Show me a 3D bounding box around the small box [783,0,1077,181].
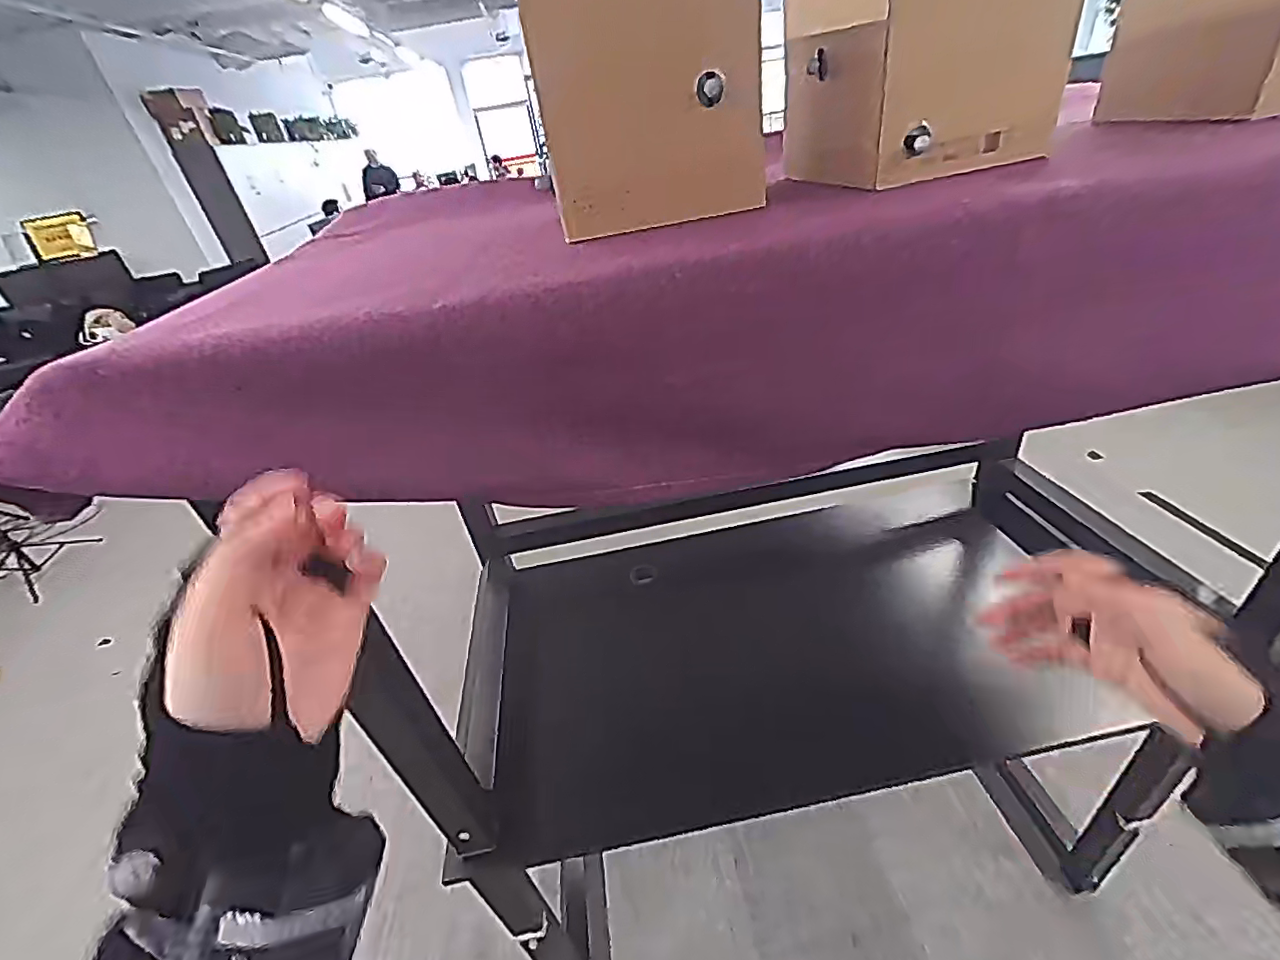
[{"bbox_3d":[0.238,-0.367,0.467,0.168,0.176,0.179,-14,33,-6],"label":"small box"}]

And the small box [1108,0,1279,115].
[{"bbox_3d":[0.565,-0.426,0.464,0.168,0.176,0.179,-10,33,1],"label":"small box"}]

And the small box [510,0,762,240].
[{"bbox_3d":[-0.002,-0.322,0.467,0.179,0.176,0.168,-12,33,-2],"label":"small box"}]
